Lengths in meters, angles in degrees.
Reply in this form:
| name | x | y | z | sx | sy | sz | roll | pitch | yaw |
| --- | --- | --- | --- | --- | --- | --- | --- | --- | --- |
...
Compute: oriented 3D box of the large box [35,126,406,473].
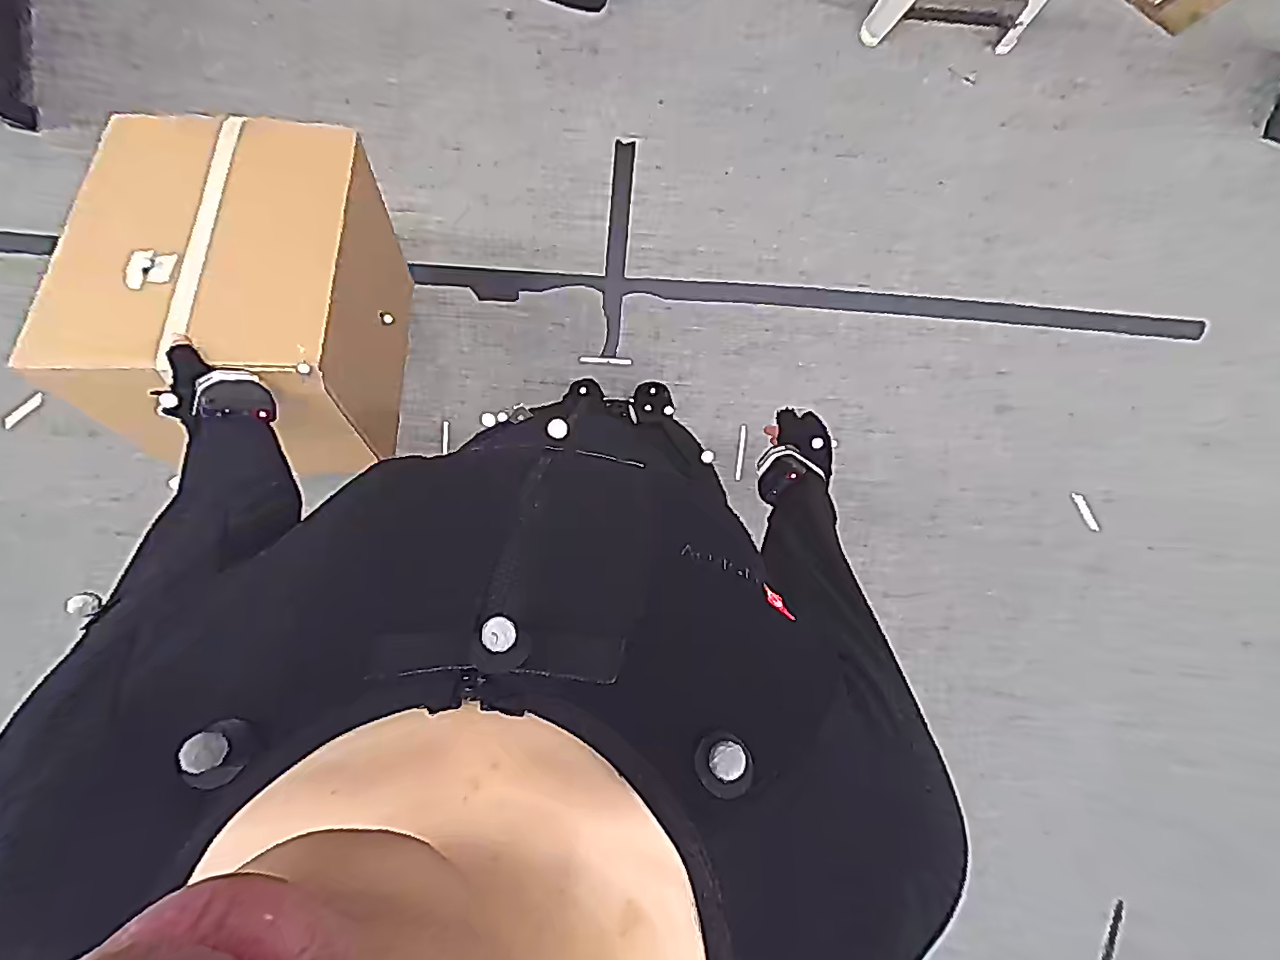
| name | x | y | z | sx | sy | sz | roll | pitch | yaw |
| --- | --- | --- | --- | --- | --- | --- | --- | --- | --- |
| large box | -0.565 | -0.253 | 0.831 | 0.320 | 0.320 | 0.408 | -2 | 69 | -8 |
